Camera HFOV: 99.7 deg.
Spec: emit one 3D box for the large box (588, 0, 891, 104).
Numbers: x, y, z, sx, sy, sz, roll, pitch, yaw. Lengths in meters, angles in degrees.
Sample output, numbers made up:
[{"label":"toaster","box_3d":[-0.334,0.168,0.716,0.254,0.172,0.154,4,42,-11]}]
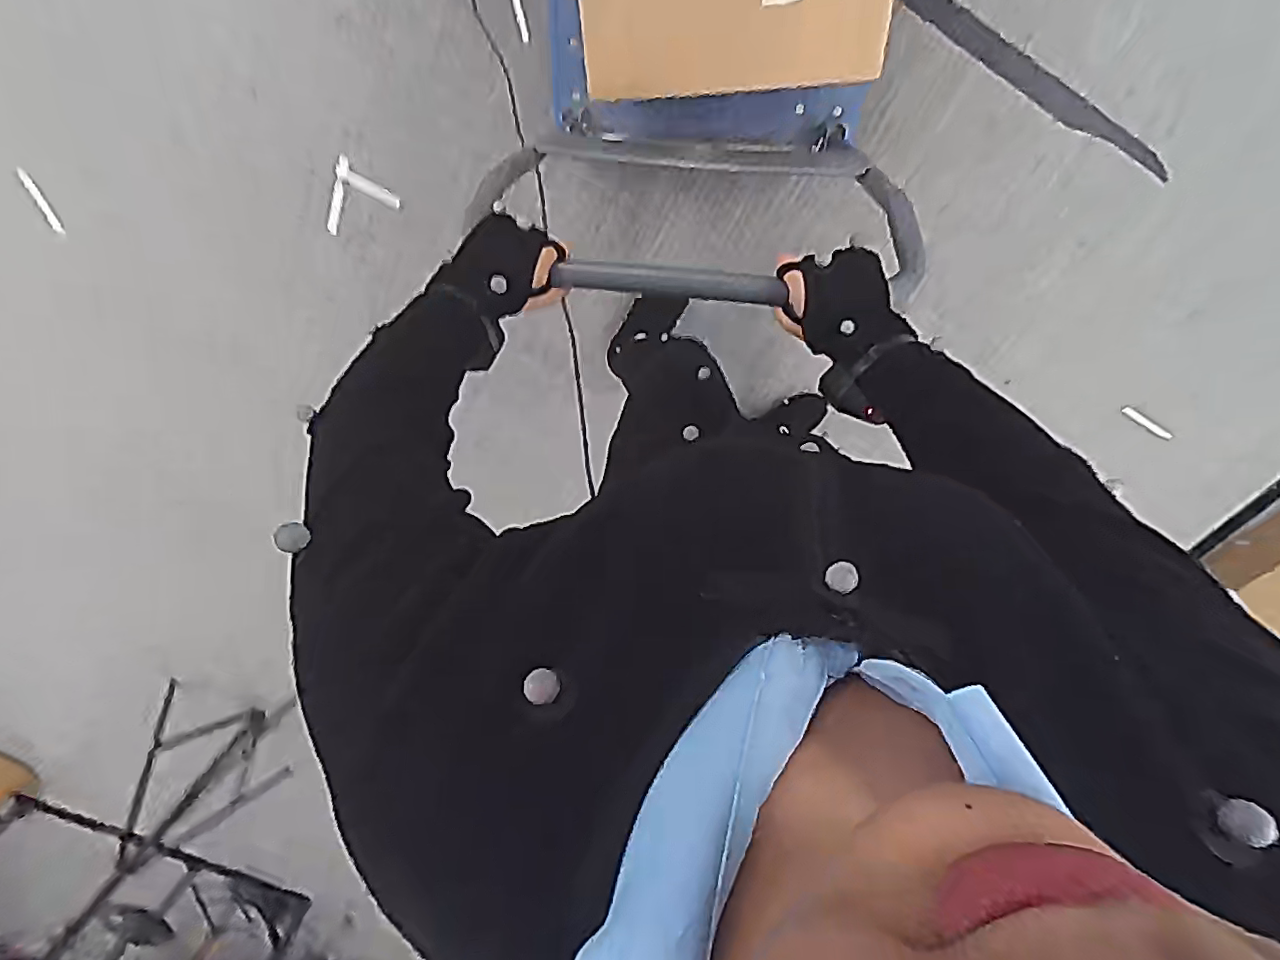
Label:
[{"label":"large box","box_3d":[0.135,-0.769,0.795,0.408,0.320,0.320,0,128,7]}]
